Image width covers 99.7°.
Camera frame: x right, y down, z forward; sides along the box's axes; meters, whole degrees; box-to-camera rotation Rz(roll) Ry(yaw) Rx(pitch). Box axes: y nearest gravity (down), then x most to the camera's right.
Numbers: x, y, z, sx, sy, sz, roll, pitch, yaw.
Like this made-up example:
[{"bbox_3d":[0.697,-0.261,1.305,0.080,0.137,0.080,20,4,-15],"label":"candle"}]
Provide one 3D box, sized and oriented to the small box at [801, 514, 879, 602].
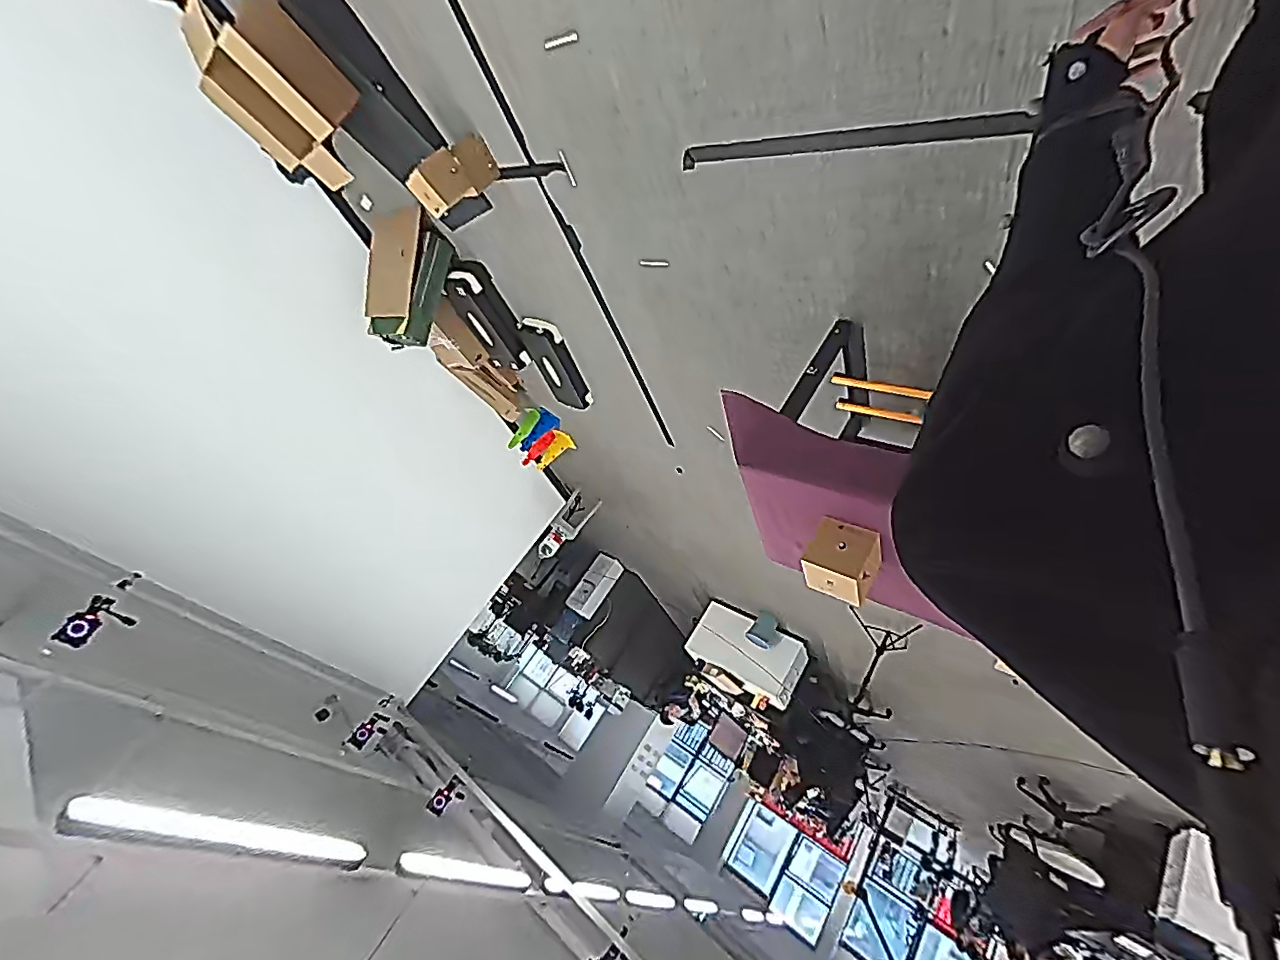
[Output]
[{"bbox_3d":[0.602,0.228,1.617,0.168,0.176,0.179,20,154,36],"label":"small box"}]
